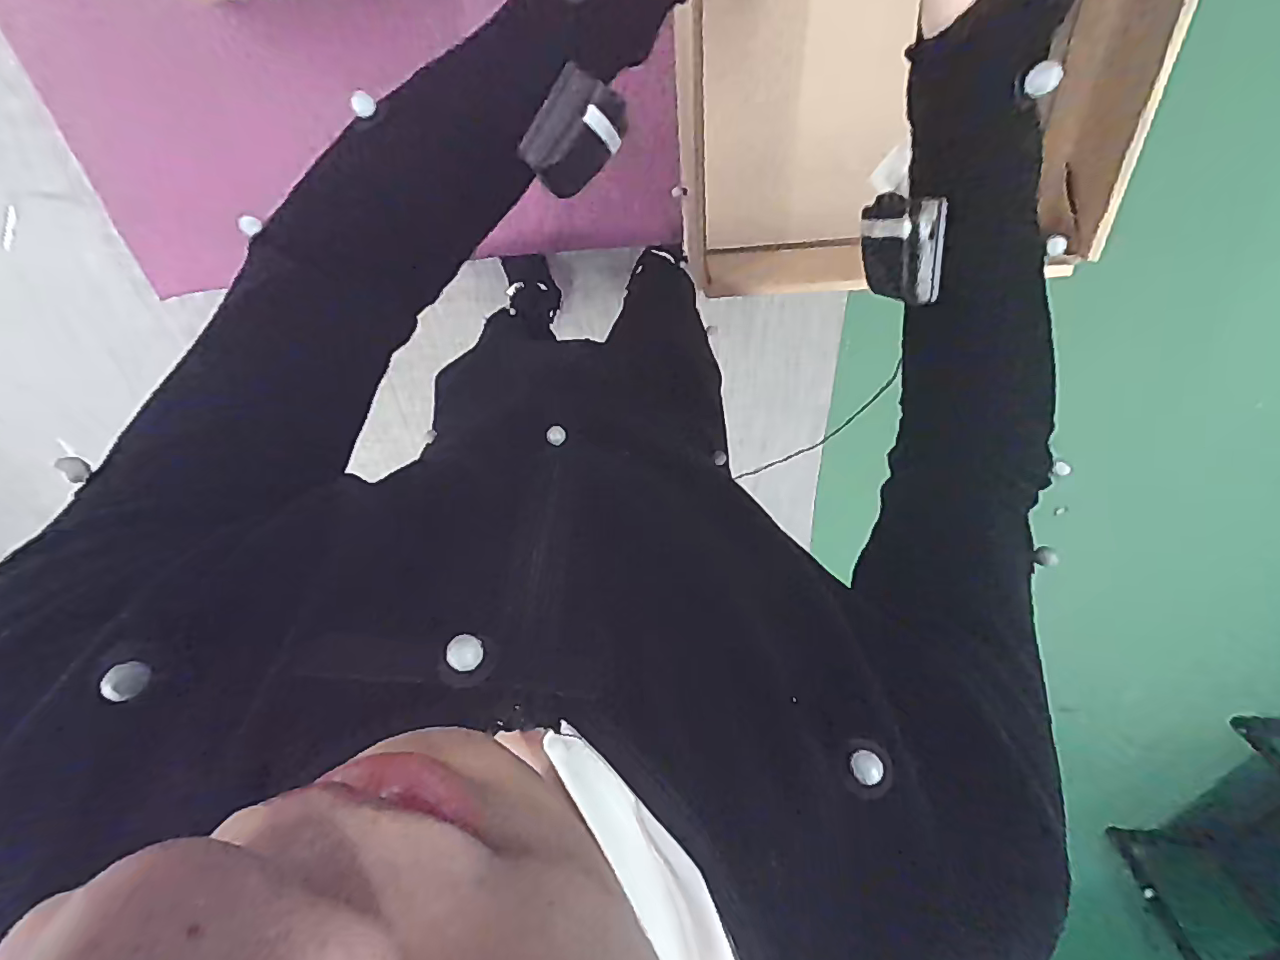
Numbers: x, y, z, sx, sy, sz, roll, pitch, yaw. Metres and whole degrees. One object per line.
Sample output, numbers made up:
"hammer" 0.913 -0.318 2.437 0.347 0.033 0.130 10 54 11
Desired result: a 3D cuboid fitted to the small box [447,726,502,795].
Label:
"small box" -0.661 1.125 2.172 0.168 0.176 0.179 15 123 -8
